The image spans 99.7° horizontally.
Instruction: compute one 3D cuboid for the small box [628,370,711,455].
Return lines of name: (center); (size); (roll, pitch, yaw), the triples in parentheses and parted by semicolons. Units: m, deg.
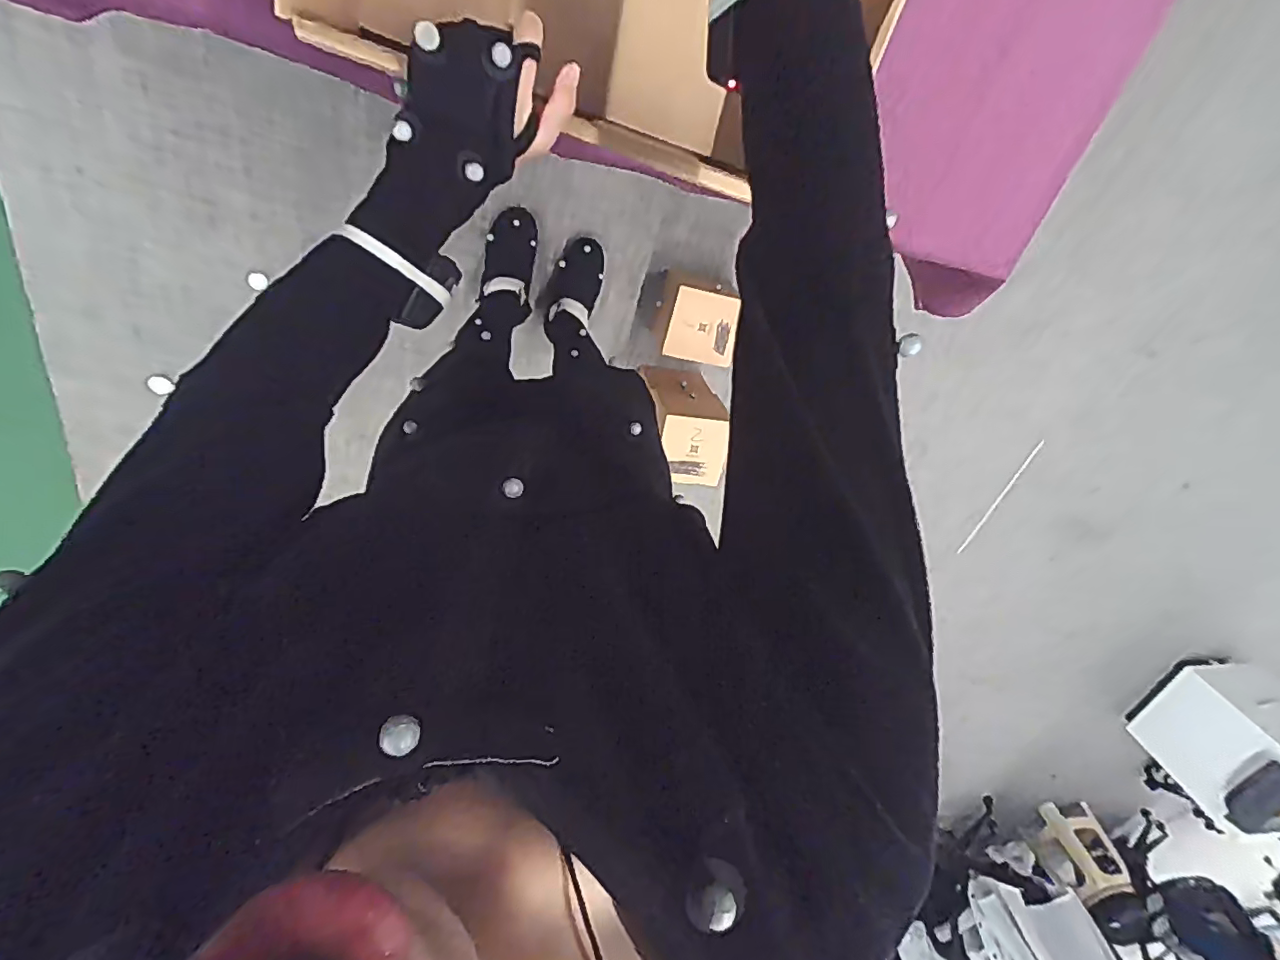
small box: (0.071, -0.186, 1.457); (0.179, 0.176, 0.168); (5, 121, -13)
